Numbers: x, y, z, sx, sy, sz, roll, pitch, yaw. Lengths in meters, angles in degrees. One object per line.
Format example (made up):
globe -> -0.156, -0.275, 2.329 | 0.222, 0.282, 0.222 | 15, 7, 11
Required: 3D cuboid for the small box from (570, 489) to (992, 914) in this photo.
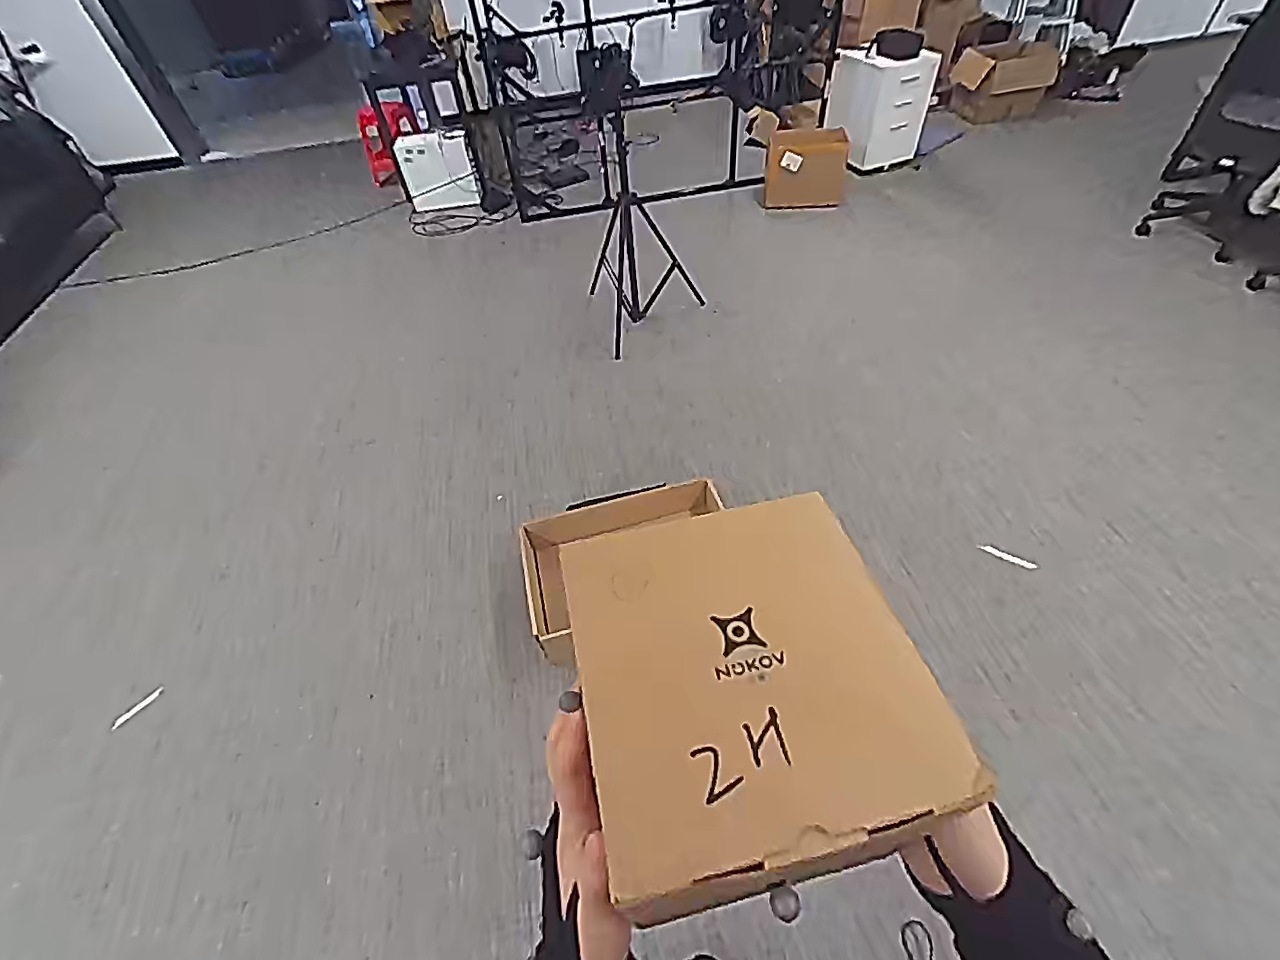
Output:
small box -> 0.056, 0.135, 0.334 | 0.168, 0.176, 0.179 | -11, 49, -6
